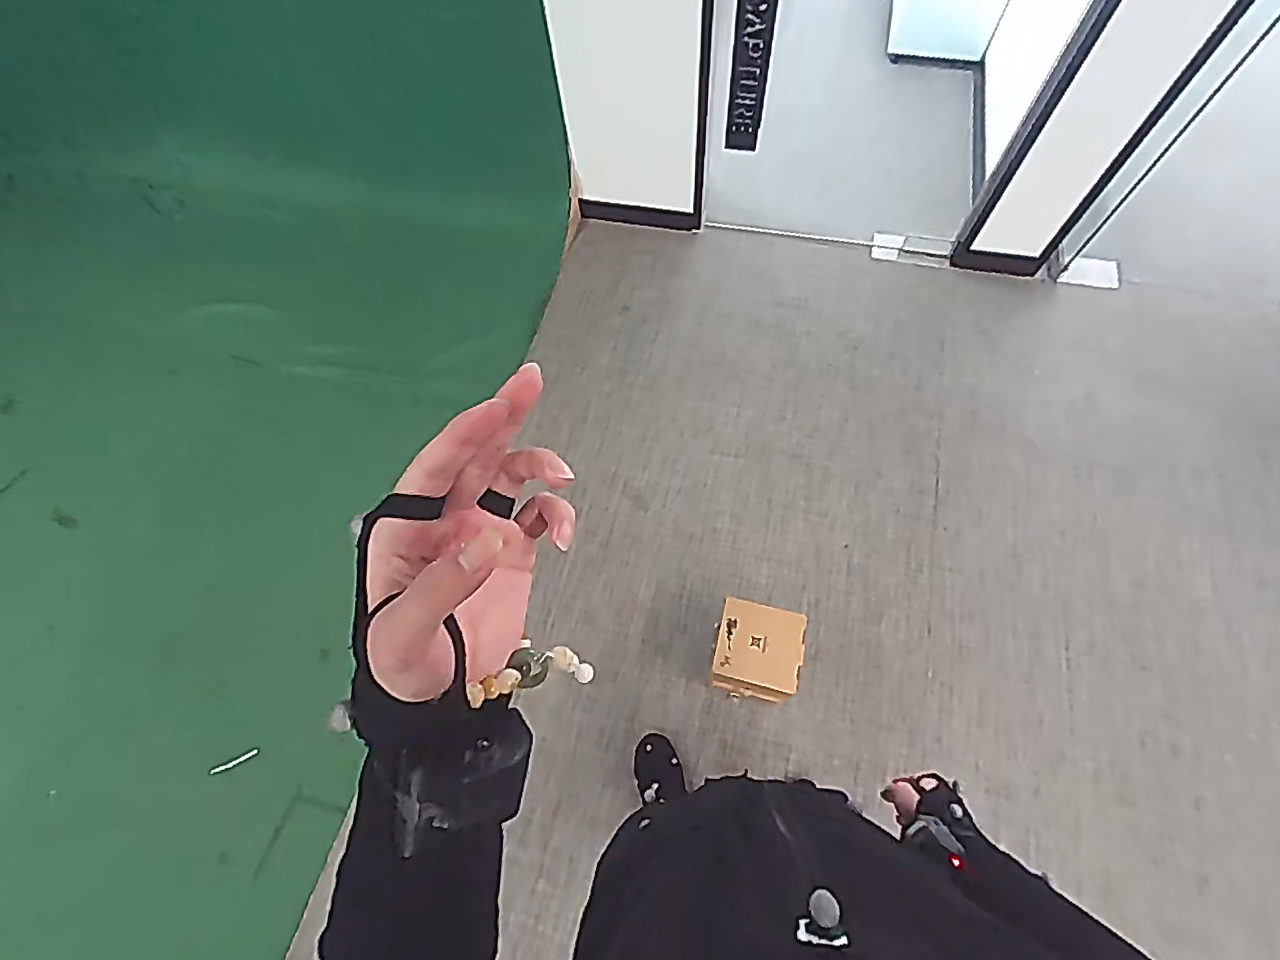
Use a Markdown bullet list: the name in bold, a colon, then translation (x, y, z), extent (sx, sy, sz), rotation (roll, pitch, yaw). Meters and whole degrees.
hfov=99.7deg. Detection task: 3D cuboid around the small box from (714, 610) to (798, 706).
- **small box**: translation (0.281, 0.445, 1.340), extent (0.168, 0.176, 0.179), rotation (13, 67, 12)
